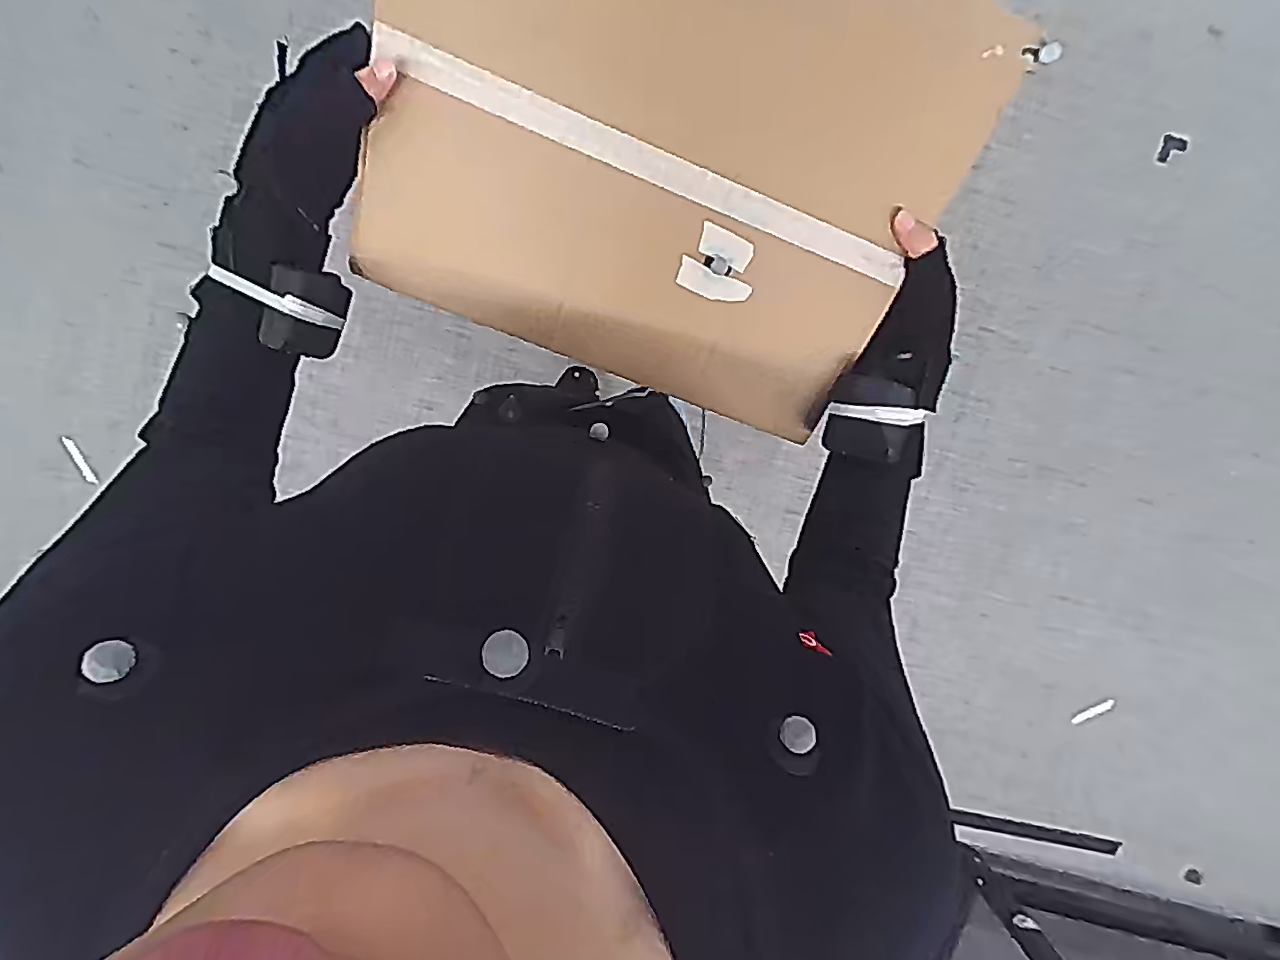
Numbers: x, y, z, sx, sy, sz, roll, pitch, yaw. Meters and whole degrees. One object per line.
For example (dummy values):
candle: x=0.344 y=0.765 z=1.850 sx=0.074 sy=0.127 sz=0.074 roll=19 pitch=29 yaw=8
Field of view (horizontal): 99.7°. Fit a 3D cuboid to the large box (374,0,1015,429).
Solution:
large box: x=0.019 y=-0.302 z=0.533 sx=0.408 sy=0.320 sz=0.320 roll=19 pitch=119 yaw=-9
